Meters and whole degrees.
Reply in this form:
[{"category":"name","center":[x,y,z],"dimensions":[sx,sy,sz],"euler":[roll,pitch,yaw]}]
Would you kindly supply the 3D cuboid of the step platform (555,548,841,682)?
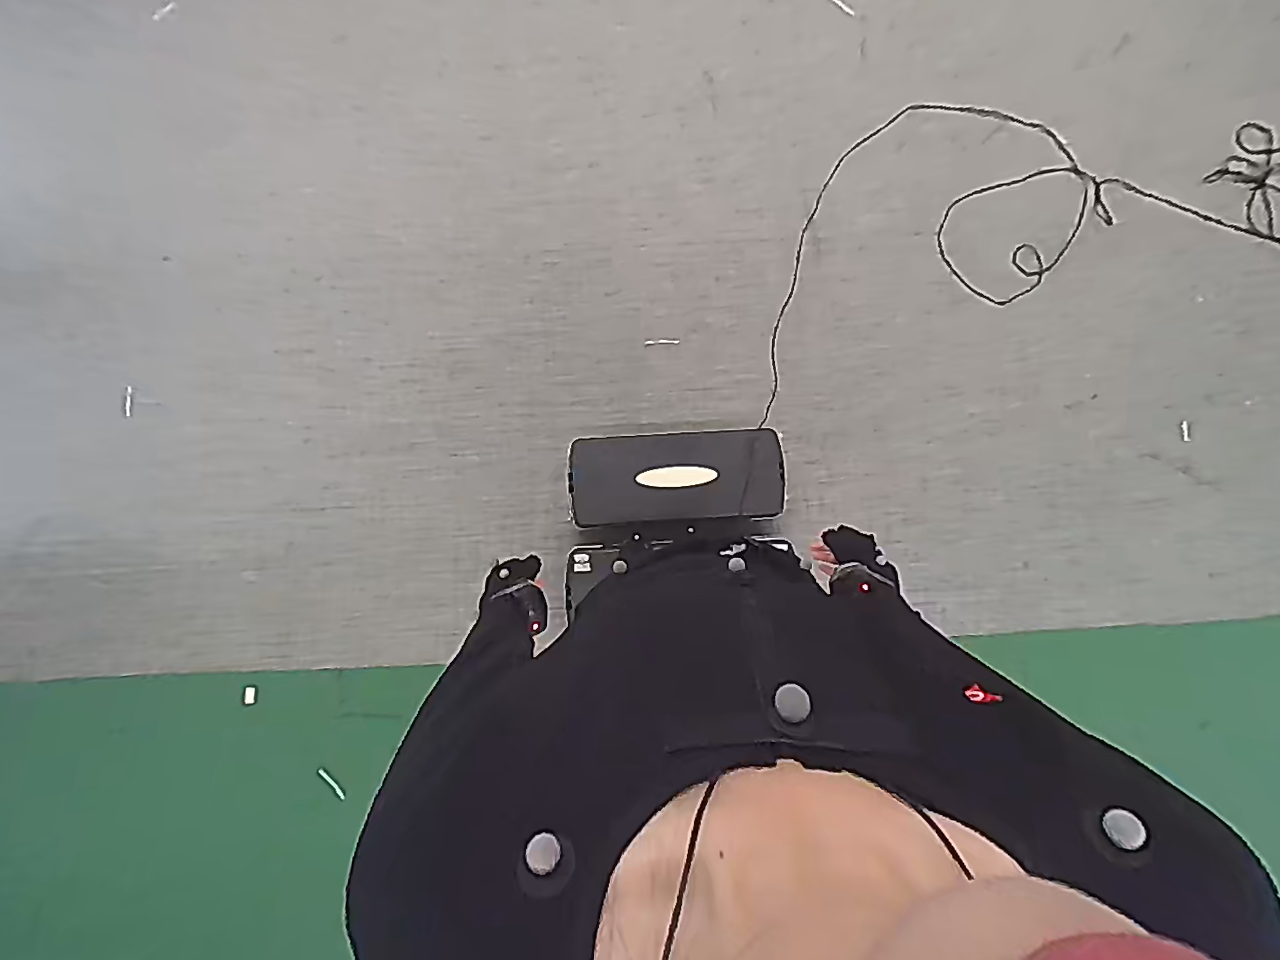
[{"category":"step platform","center":[0.137,0.333,1.382],"dimensions":[0.684,0.204,0.286],"euler":[-3,83,-1]}]
